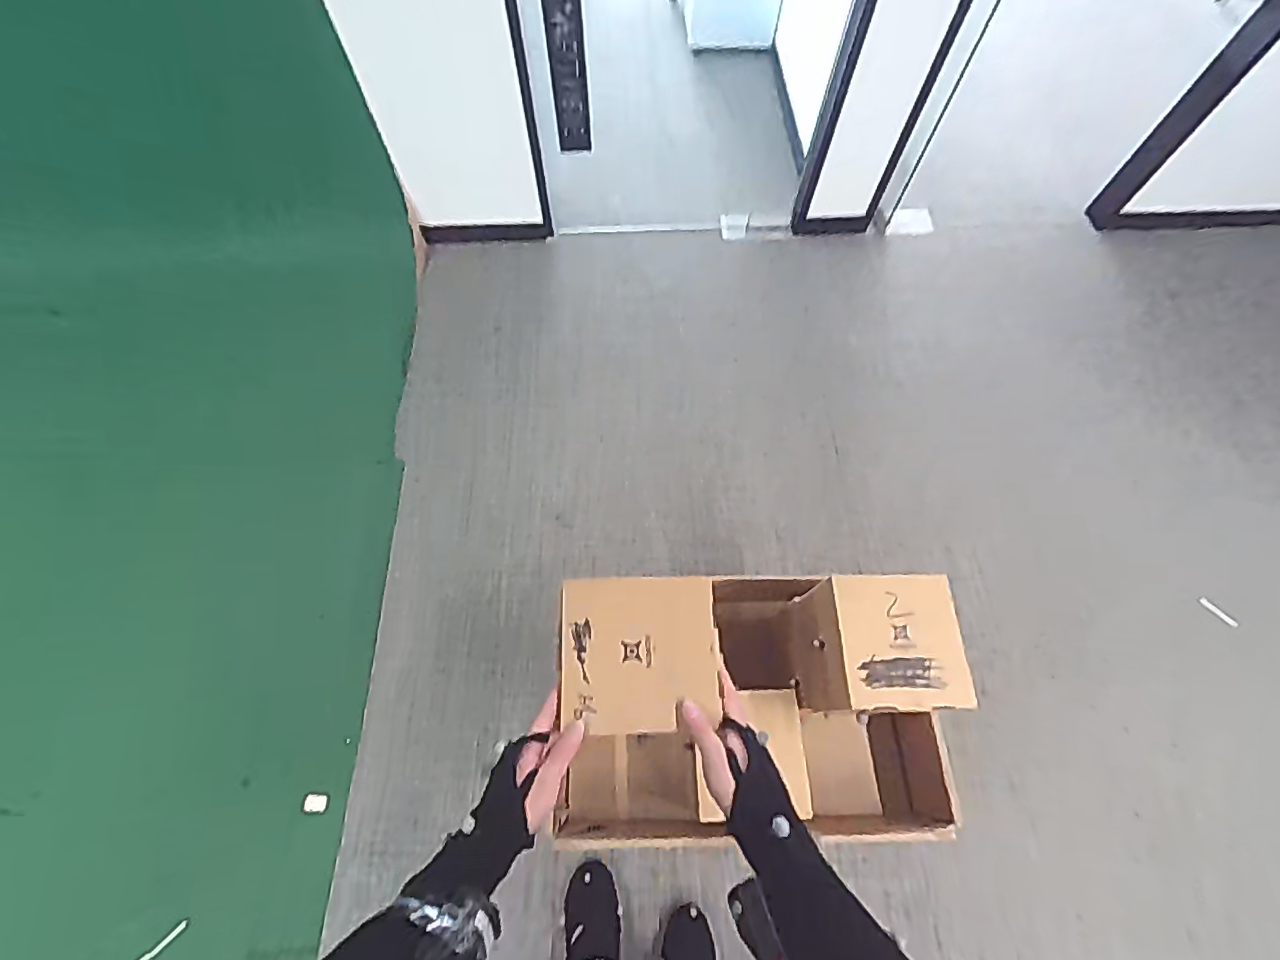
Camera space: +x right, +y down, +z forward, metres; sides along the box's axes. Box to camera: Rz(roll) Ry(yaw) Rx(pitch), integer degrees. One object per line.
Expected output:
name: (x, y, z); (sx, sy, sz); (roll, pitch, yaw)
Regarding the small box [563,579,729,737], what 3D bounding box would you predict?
small box: (0.004, 0.222, 0.667); (0.179, 0.176, 0.168); (-2, 66, -1)
